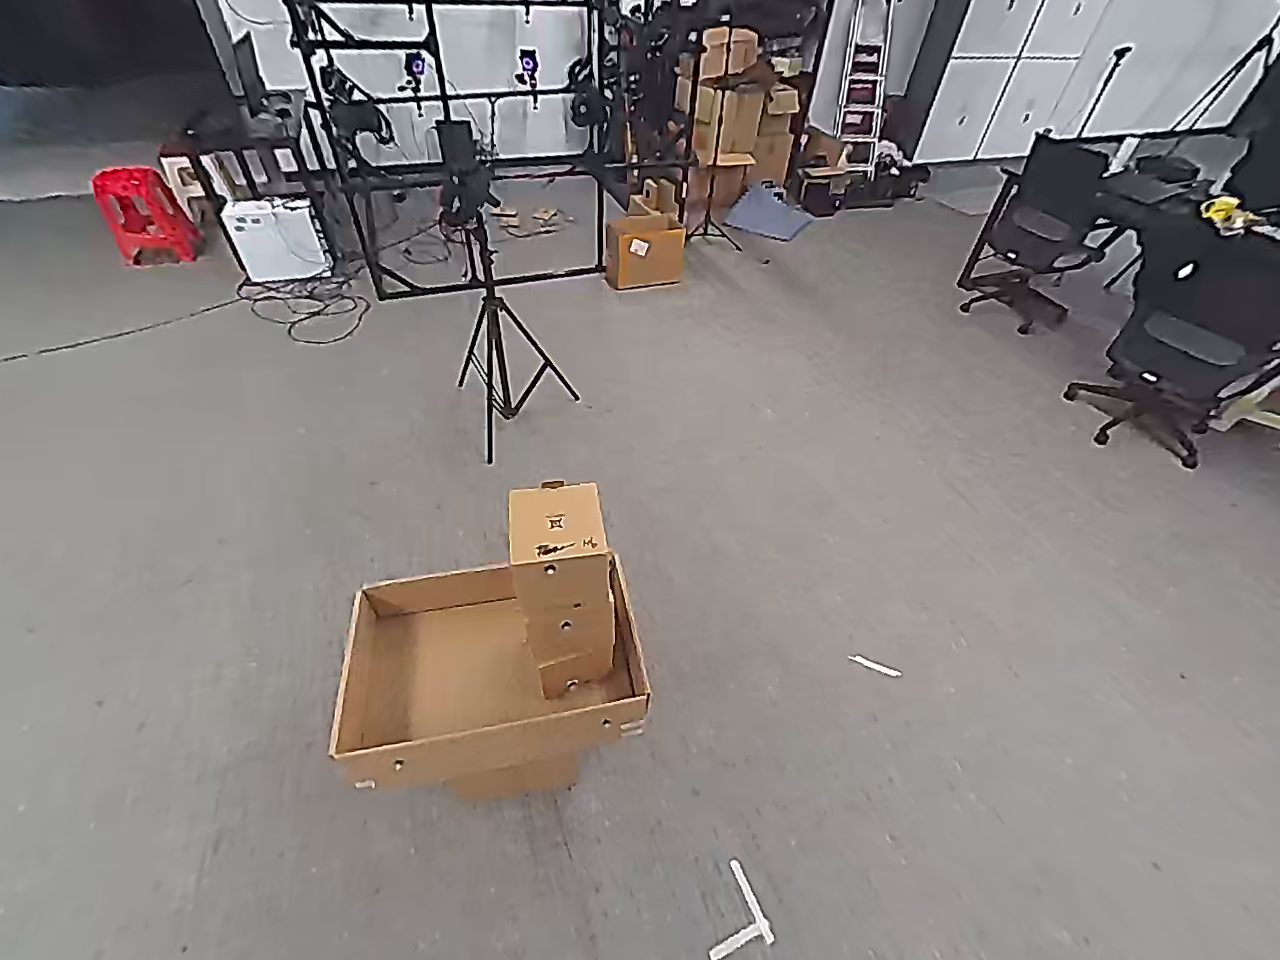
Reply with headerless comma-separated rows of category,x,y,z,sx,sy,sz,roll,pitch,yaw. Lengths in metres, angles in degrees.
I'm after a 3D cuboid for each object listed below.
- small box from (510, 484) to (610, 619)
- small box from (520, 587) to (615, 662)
small box,-0.147,0.132,1.008,0.168,0.176,0.179,-6,44,-7
small box,-0.153,0.252,1.119,0.179,0.176,0.168,-10,46,-12
